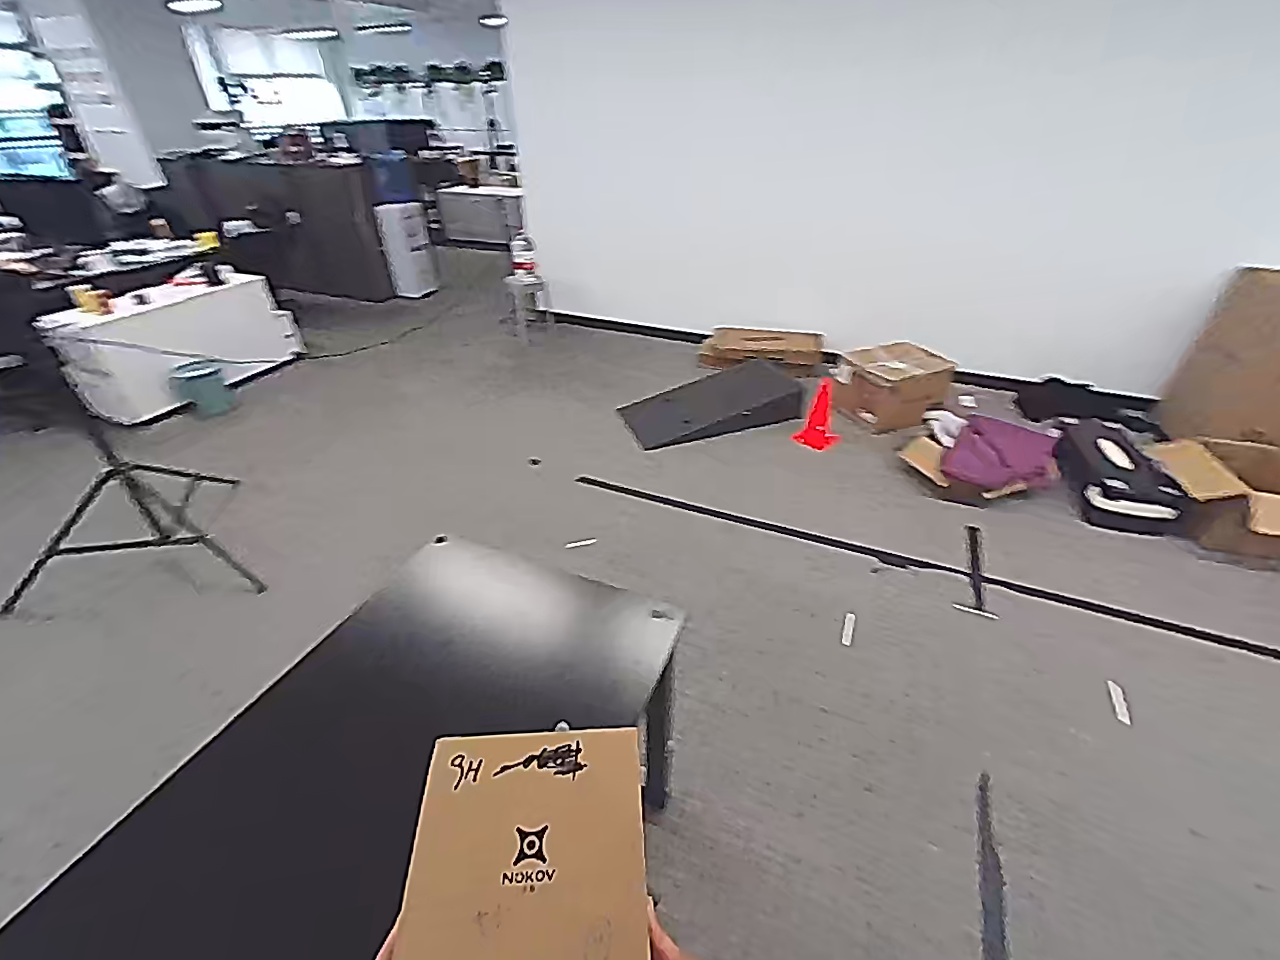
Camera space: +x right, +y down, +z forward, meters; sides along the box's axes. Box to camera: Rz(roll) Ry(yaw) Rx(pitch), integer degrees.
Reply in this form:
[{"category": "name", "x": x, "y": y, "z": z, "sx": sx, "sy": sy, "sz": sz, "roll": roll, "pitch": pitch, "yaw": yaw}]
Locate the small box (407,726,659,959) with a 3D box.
[{"category": "small box", "x": -0.070, "y": 0.324, "z": 0.443, "sx": 0.168, "sy": 0.176, "sz": 0.179, "roll": -2, "pitch": 46, "yaw": -2}]
